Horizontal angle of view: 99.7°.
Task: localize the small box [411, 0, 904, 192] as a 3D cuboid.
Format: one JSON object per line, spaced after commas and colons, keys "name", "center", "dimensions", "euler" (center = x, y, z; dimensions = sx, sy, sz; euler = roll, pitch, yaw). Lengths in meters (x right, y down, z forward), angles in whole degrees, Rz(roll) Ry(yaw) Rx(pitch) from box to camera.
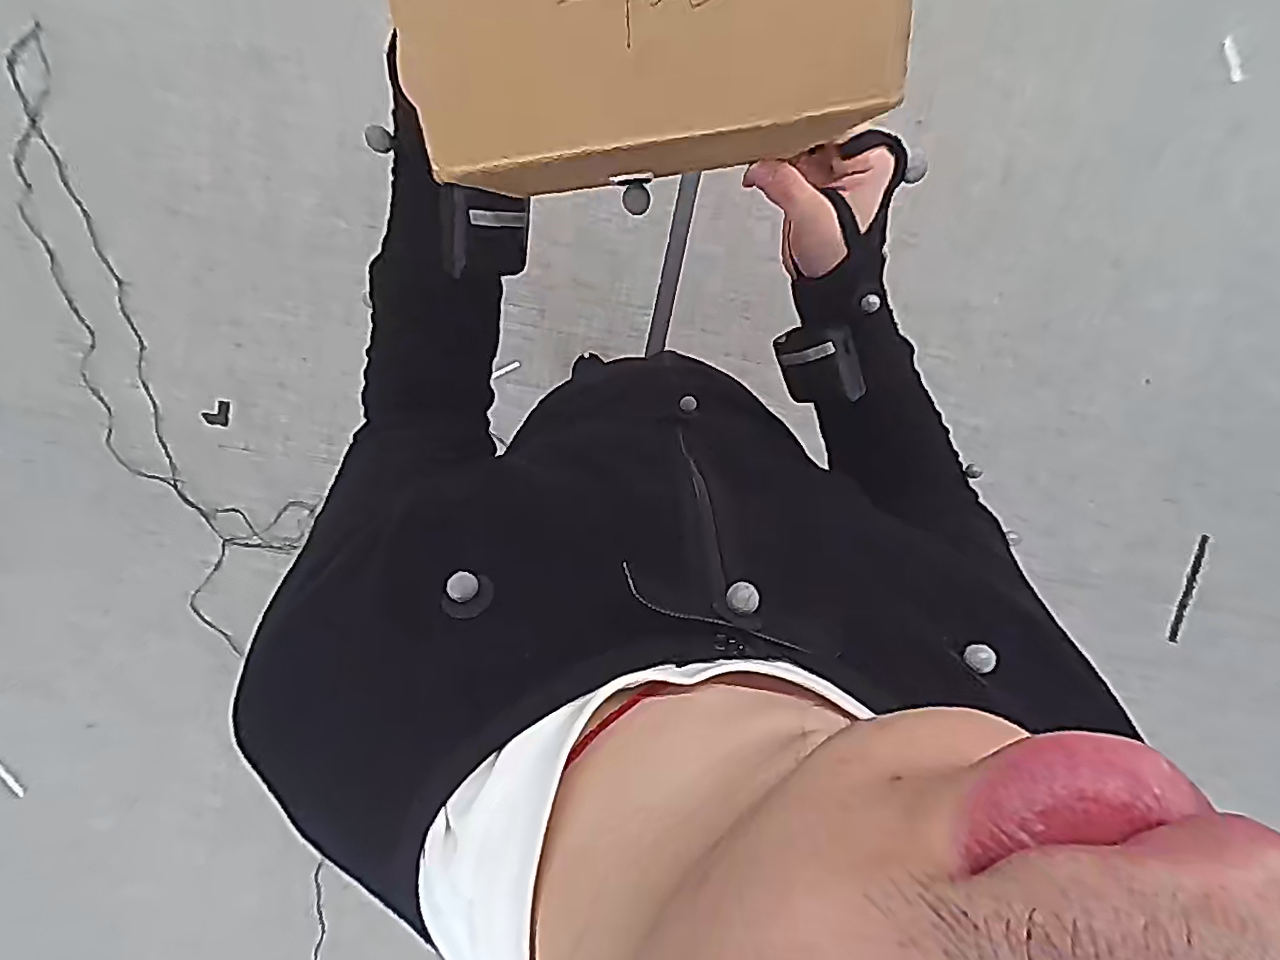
{"name": "small box", "center": [-0.001, -0.237, 0.233], "dimensions": [0.168, 0.176, 0.179], "euler": [-8, 116, 5]}
